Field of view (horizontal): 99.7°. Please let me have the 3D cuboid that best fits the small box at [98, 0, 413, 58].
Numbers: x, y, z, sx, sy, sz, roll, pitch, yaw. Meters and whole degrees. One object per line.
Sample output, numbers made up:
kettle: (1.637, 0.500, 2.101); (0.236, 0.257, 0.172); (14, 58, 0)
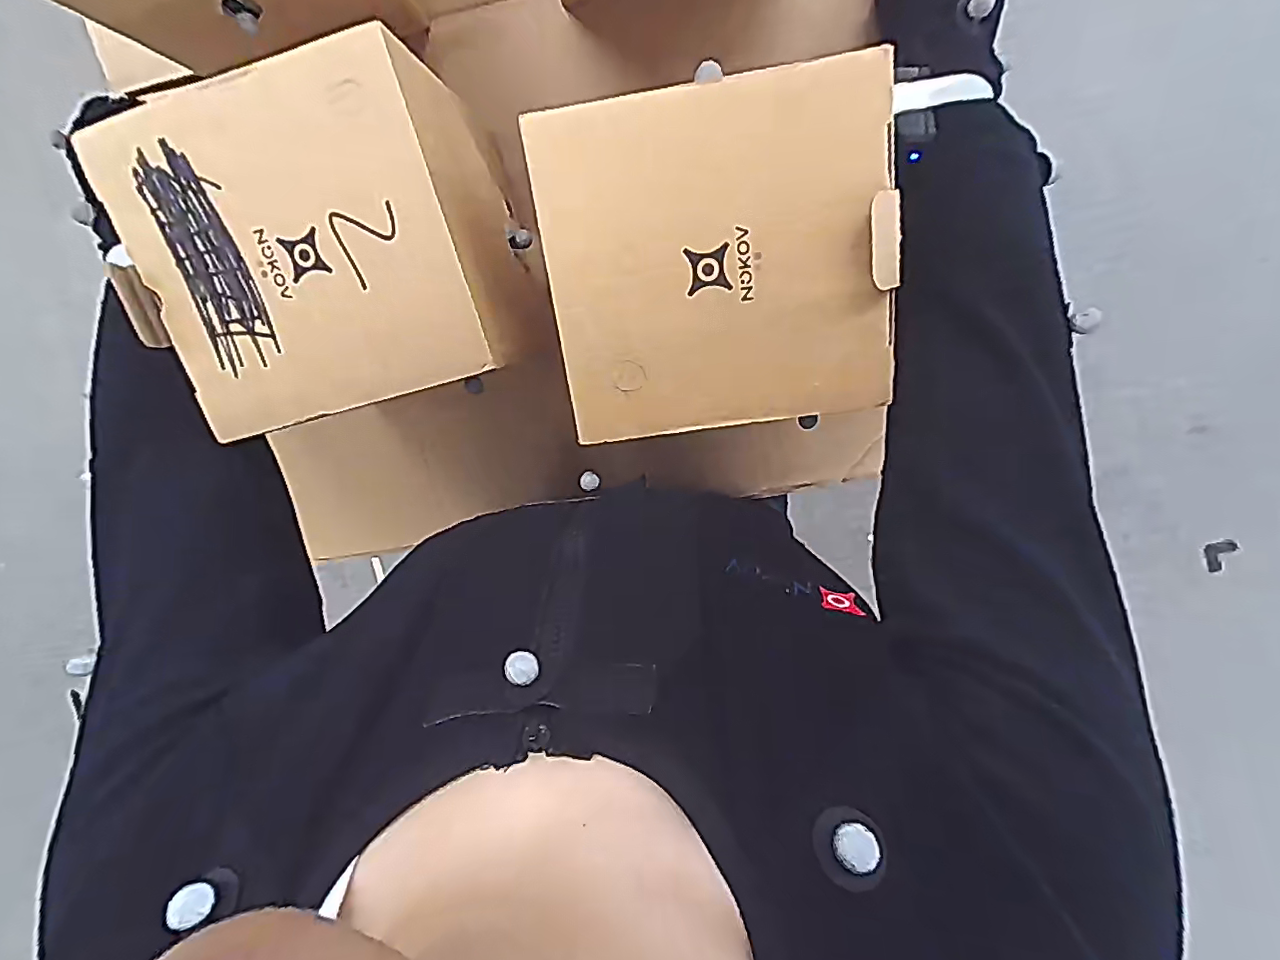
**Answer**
small box: (-0.256, -0.375, 0.299); (0.168, 0.176, 0.179); (-11, 106, 7)
